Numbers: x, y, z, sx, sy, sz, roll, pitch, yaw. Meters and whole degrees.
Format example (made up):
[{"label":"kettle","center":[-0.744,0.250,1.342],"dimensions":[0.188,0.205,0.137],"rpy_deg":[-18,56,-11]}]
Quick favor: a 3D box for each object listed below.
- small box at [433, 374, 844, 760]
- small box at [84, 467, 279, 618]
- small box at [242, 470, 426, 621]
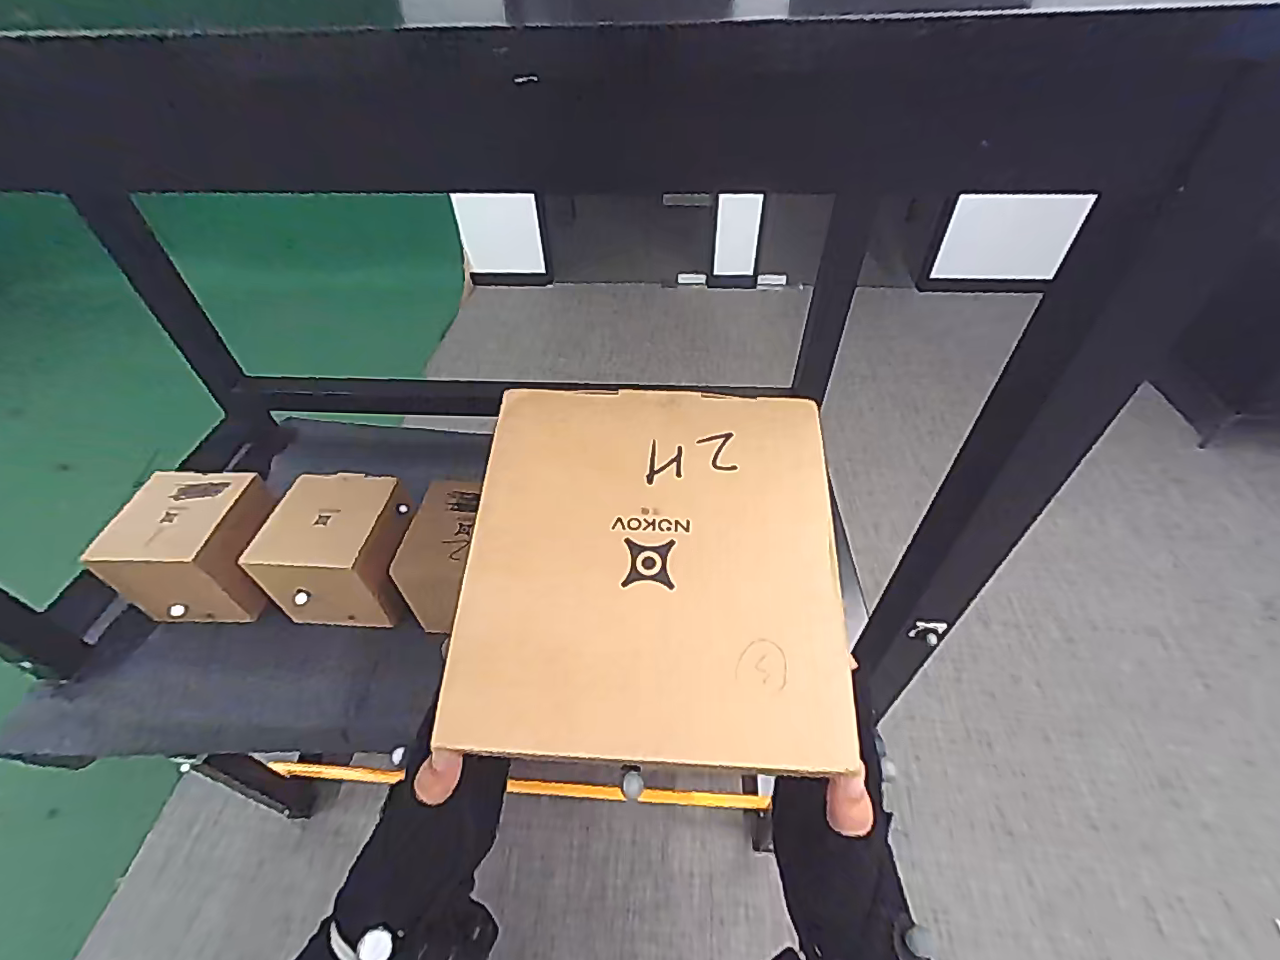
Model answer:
[{"label":"small box","center":[0.005,0.061,0.318],"dimensions":[0.168,0.176,0.179],"rpy_deg":[3,62,2]},{"label":"small box","center":[-0.687,0.098,0.861],"dimensions":[0.168,0.176,0.179],"rpy_deg":[0,46,2]},{"label":"small box","center":[-0.461,0.105,0.853],"dimensions":[0.168,0.176,0.179],"rpy_deg":[3,45,3]}]
